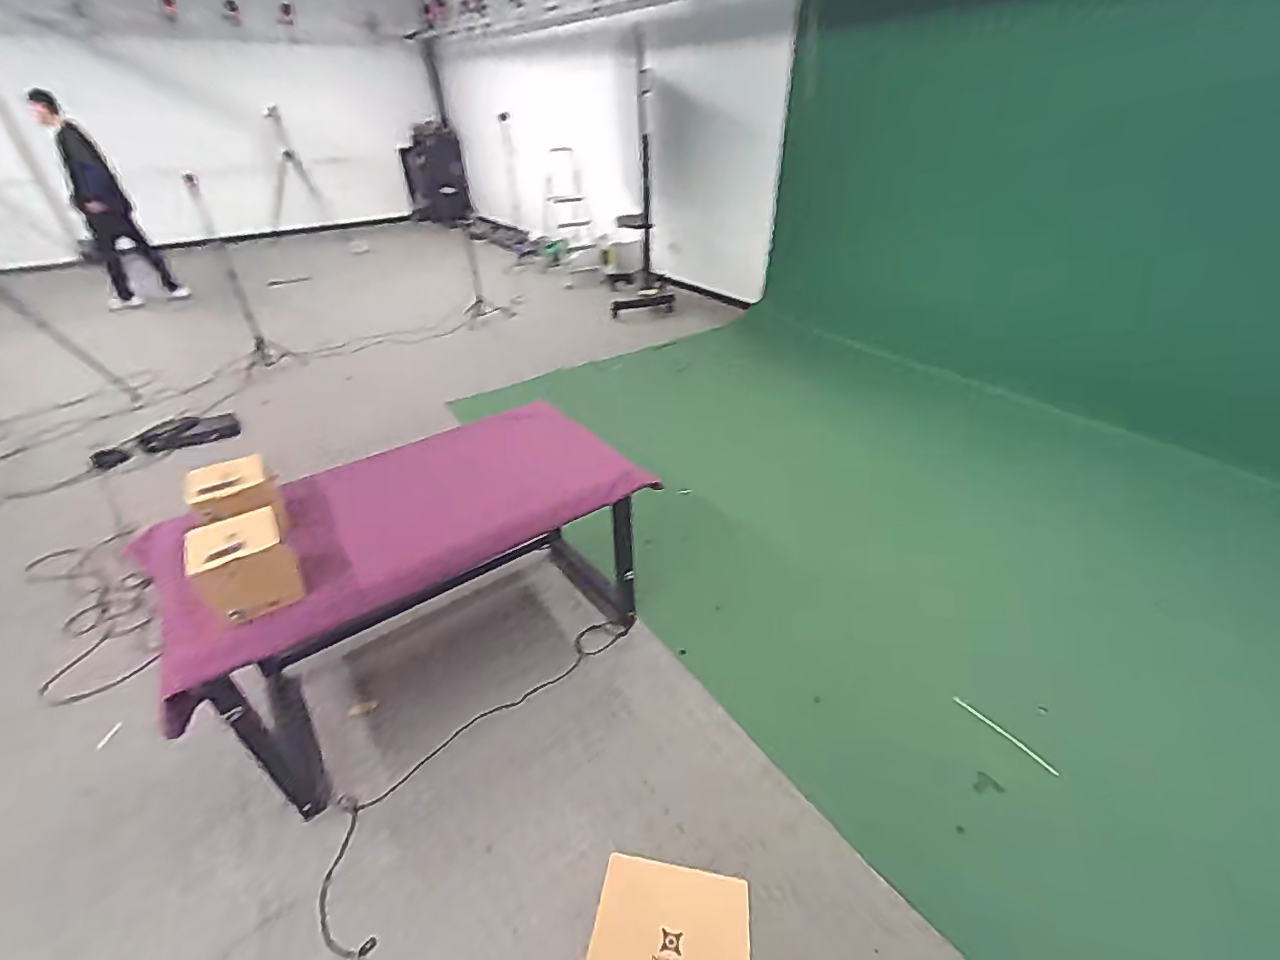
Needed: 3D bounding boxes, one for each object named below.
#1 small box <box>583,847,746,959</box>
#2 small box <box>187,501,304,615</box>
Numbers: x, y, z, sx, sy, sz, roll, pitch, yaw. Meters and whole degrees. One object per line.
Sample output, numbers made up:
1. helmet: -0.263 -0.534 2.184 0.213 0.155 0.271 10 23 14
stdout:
1. small box: 0.020 0.551 0.581 0.168 0.176 0.179 7 19 6
2. small box: -0.890 0.182 1.228 0.168 0.176 0.179 -22 40 -28
